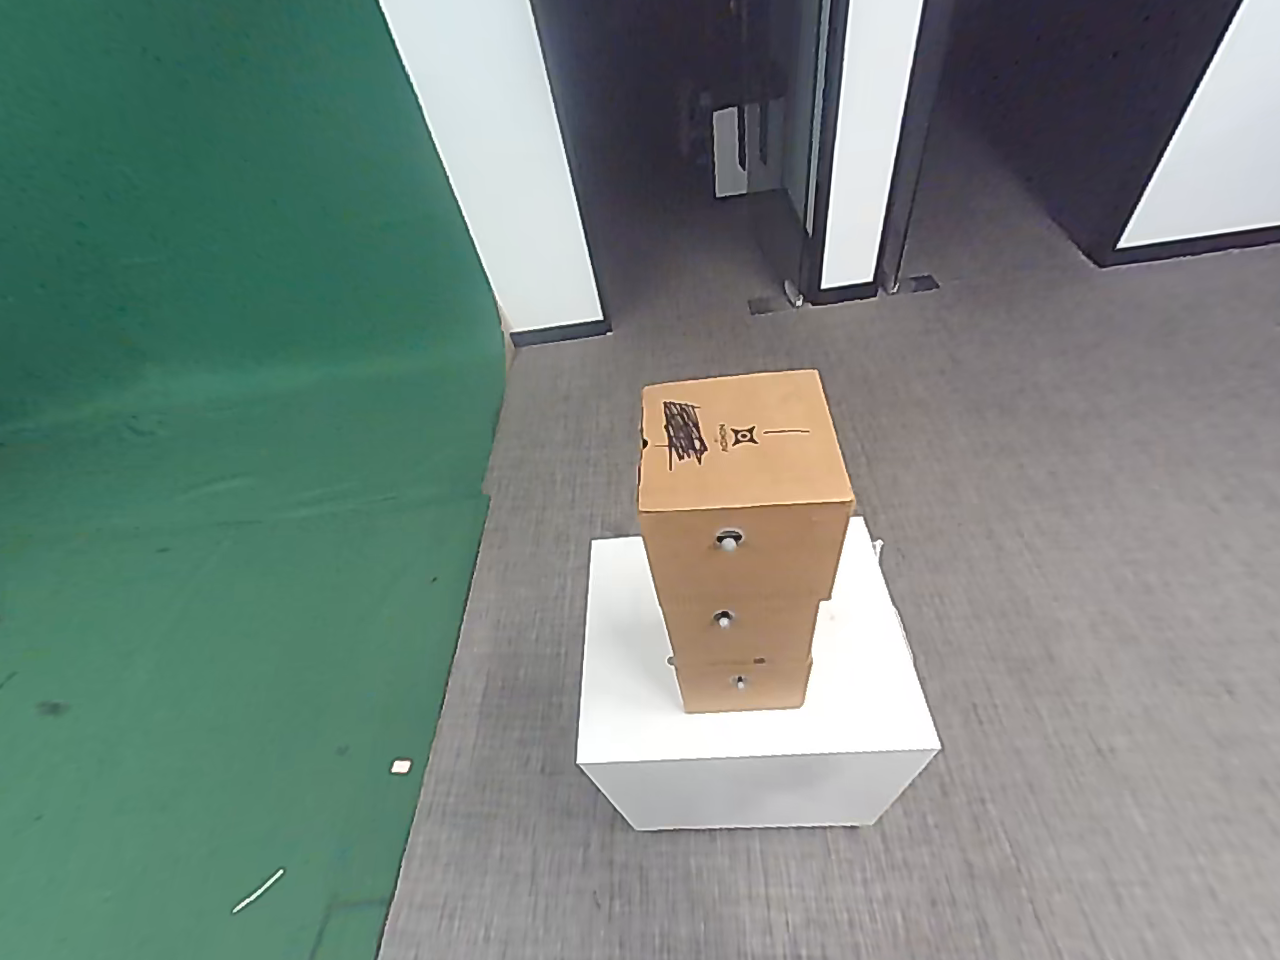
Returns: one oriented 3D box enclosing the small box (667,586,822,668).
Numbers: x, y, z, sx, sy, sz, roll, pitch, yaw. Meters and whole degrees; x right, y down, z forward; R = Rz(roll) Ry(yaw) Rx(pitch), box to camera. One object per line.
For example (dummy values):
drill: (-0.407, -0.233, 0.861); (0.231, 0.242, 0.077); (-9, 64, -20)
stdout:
small box: (0.119, 0.118, 0.685); (0.168, 0.176, 0.179); (-6, 49, 5)

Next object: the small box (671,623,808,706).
small box: (0.141, 0.226, 0.803); (0.179, 0.176, 0.168); (-5, 49, 6)

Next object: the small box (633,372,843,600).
small box: (0.096, 0.013, 0.558); (0.179, 0.176, 0.168); (-4, 49, 8)
